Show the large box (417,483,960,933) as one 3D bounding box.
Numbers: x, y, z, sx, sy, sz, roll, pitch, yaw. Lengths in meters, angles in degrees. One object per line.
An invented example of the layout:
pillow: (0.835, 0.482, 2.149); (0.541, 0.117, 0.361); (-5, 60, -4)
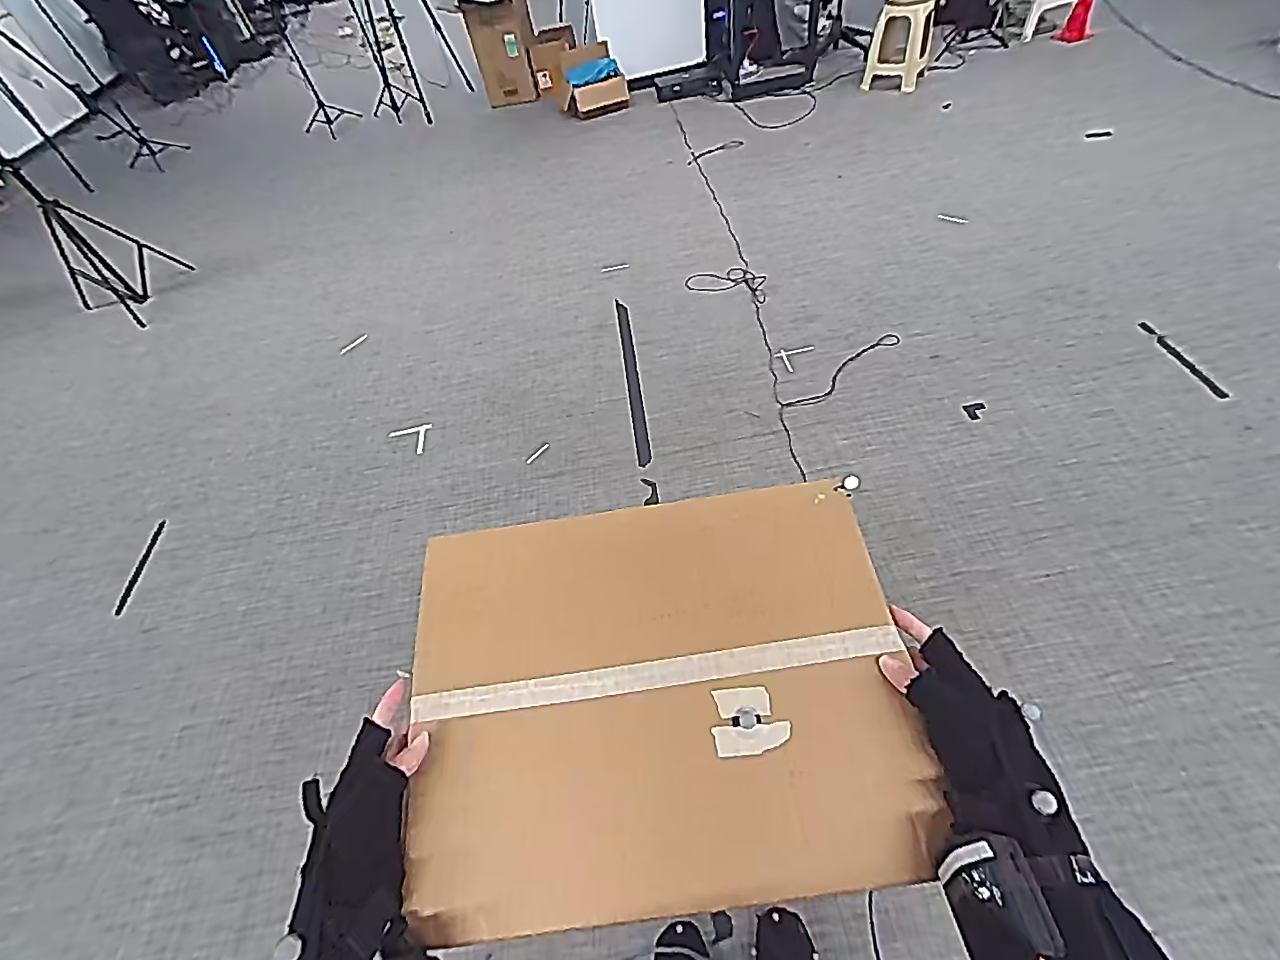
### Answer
large box: (0.026, 0.239, 0.587); (0.408, 0.320, 0.320); (-8, 59, 0)
